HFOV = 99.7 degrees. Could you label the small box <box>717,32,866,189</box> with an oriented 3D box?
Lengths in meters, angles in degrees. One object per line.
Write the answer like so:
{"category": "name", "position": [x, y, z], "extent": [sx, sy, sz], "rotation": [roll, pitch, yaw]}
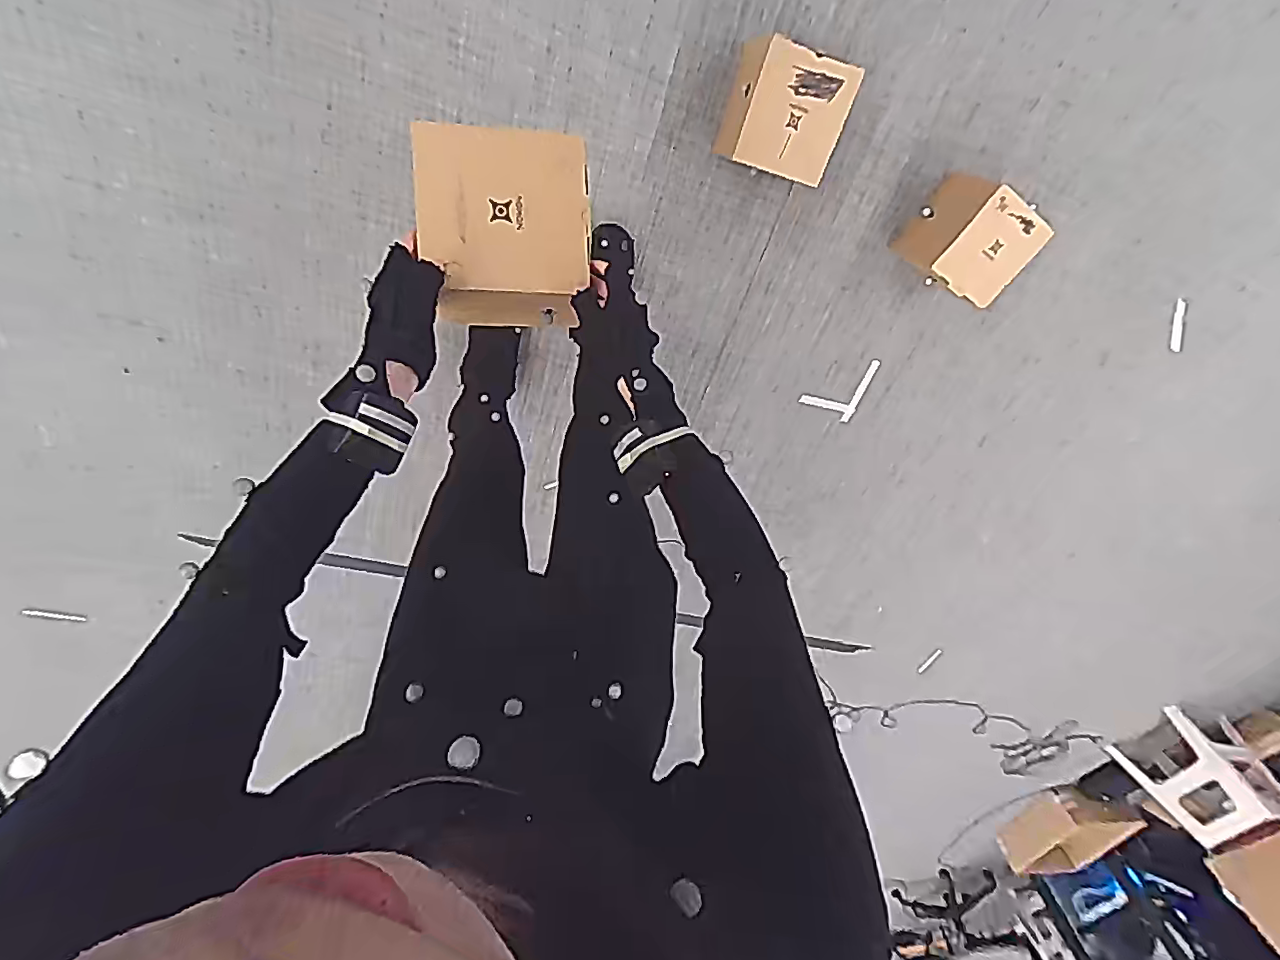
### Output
{"category": "small box", "position": [0.248, -0.636, 0.940], "extent": [0.168, 0.176, 0.179], "rotation": [11, 124, -13]}

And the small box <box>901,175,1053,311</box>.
{"category": "small box", "position": [0.663, -0.481, 1.094], "extent": [0.168, 0.176, 0.179], "rotation": [25, 120, -22]}

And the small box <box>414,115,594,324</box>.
{"category": "small box", "position": [-0.152, -0.285, 0.631], "extent": [0.179, 0.176, 0.168], "rotation": [-3, 93, -10]}
